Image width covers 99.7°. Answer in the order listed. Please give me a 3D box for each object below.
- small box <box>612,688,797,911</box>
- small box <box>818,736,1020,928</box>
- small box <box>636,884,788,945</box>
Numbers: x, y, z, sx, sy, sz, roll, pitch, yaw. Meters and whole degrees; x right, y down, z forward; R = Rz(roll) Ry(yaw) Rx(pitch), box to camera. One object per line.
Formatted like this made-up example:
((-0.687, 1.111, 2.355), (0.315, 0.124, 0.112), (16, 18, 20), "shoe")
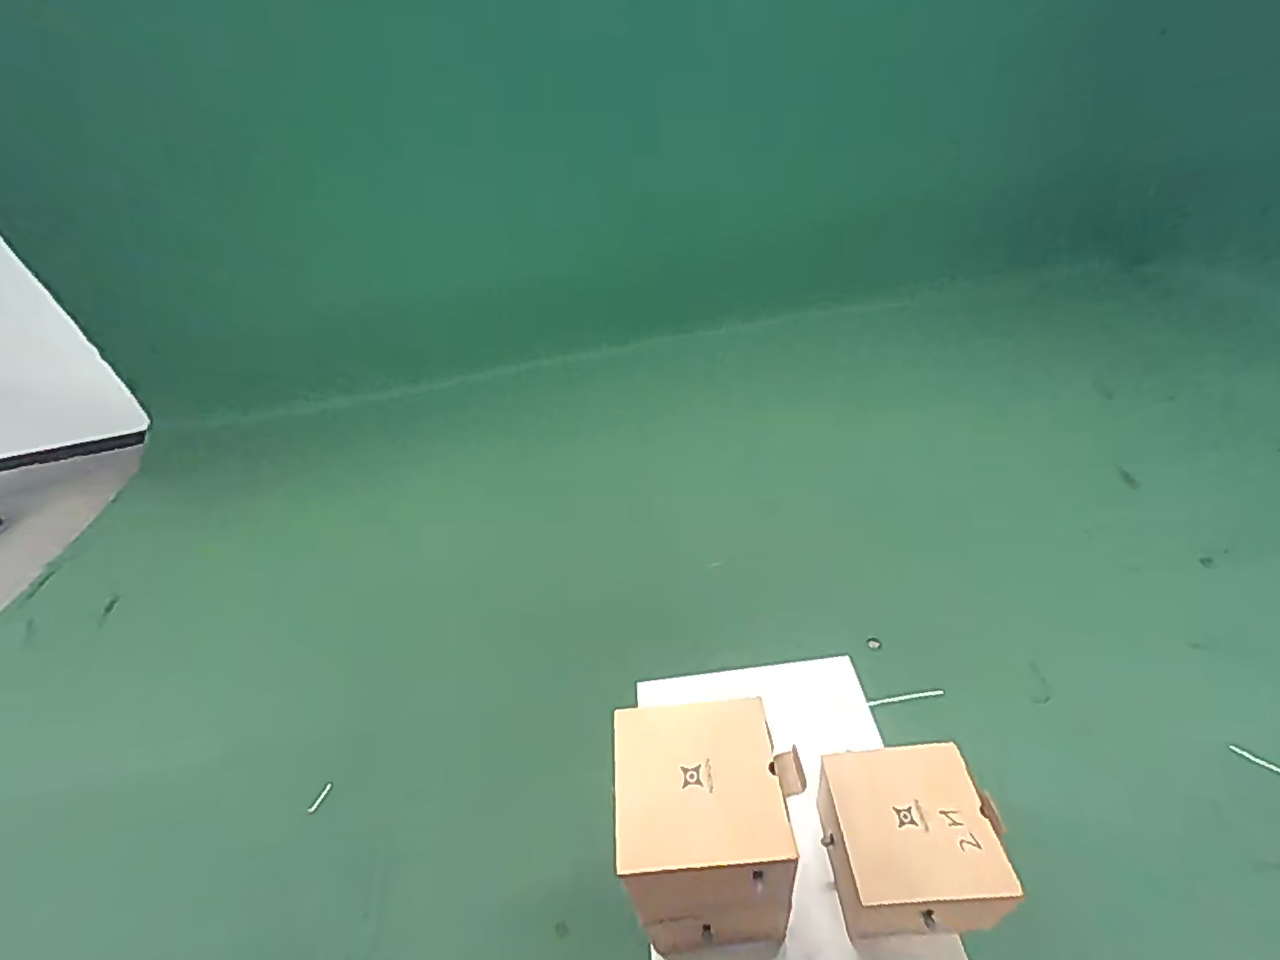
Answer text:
((0.067, 0.362, 0.613), (0.179, 0.176, 0.168), (-7, 39, 2), "small box")
((0.336, 0.454, 0.696), (0.179, 0.176, 0.168), (-7, 41, 5), "small box")
((0.089, 0.487, 0.716), (0.179, 0.176, 0.168), (-9, 39, 2), "small box")
